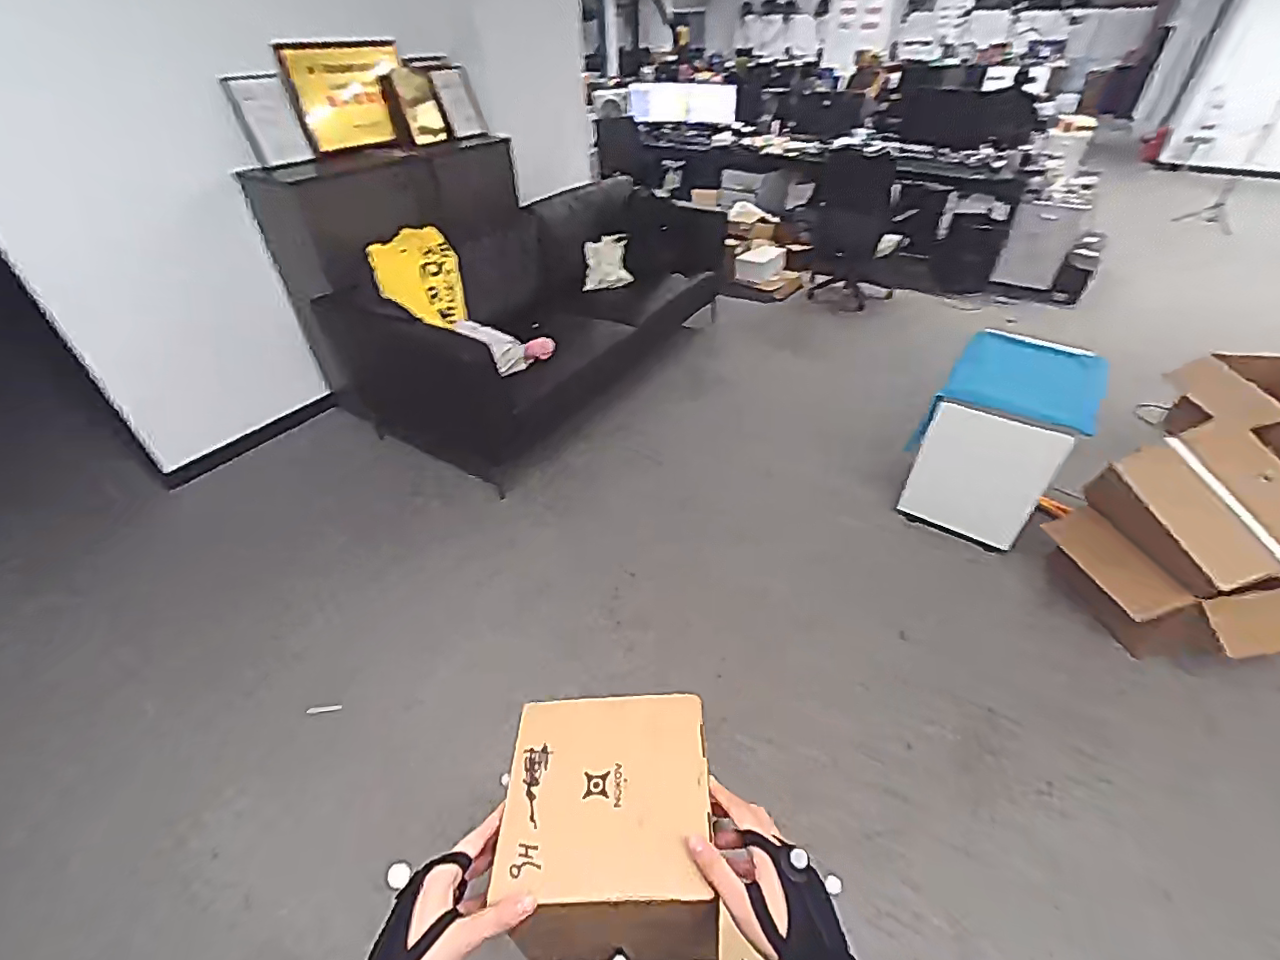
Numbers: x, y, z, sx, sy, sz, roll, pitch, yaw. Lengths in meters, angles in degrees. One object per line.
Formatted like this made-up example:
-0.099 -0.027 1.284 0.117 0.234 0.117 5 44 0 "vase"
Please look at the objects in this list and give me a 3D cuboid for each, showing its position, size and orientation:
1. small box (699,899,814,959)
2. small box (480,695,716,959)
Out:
0.187 0.887 0.936 0.179 0.176 0.168 21 45 25 "small box"
-0.026 0.324 0.504 0.179 0.176 0.168 -3 33 3 "small box"
